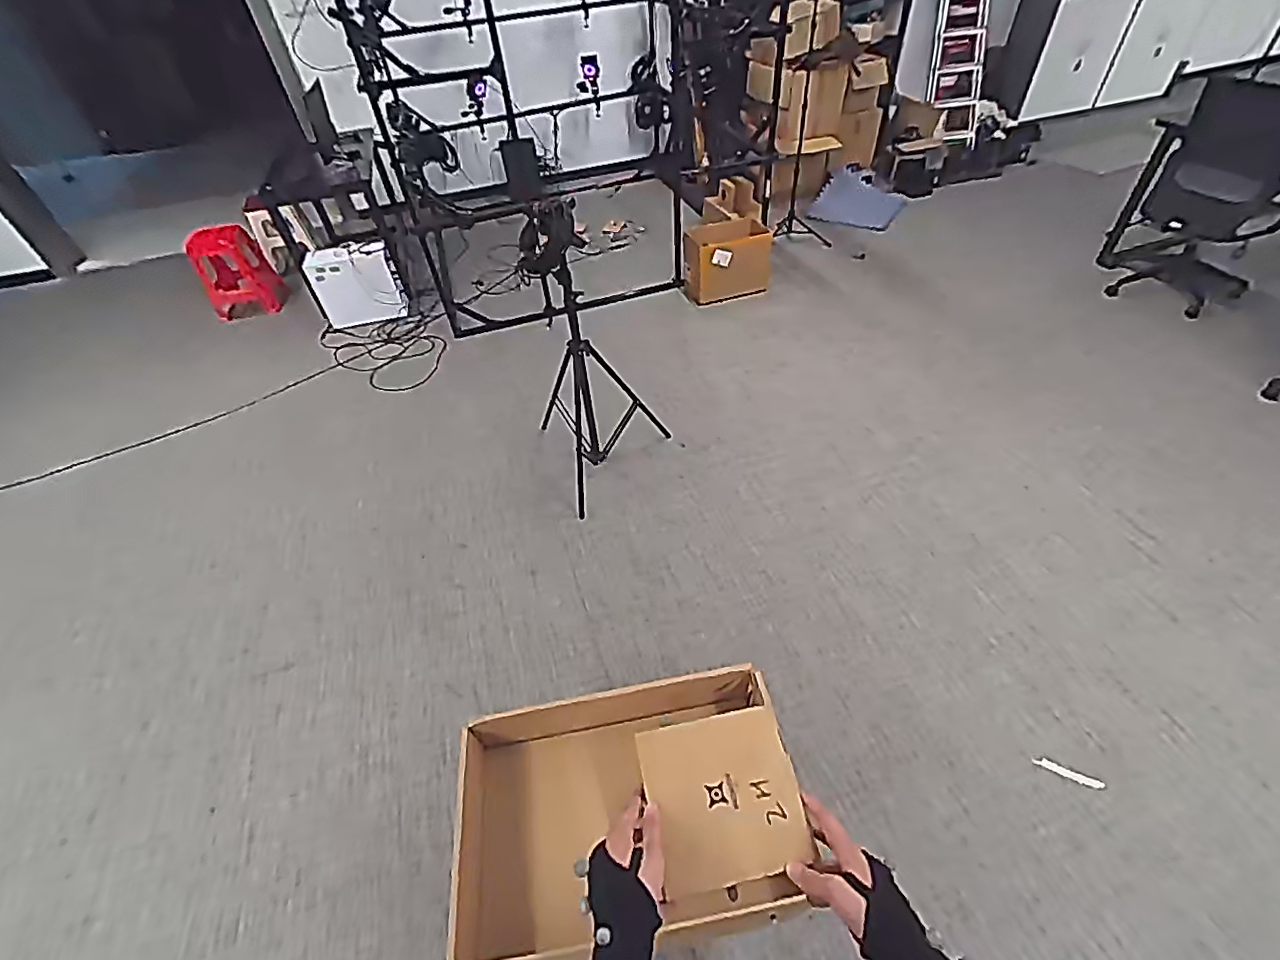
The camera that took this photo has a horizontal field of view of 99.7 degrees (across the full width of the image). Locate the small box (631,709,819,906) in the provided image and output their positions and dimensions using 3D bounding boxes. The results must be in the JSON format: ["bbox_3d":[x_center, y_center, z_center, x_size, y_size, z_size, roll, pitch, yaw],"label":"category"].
[{"bbox_3d":[0.088,0.402,0.665,0.179,0.176,0.168,-8,55,-8],"label":"small box"}]
